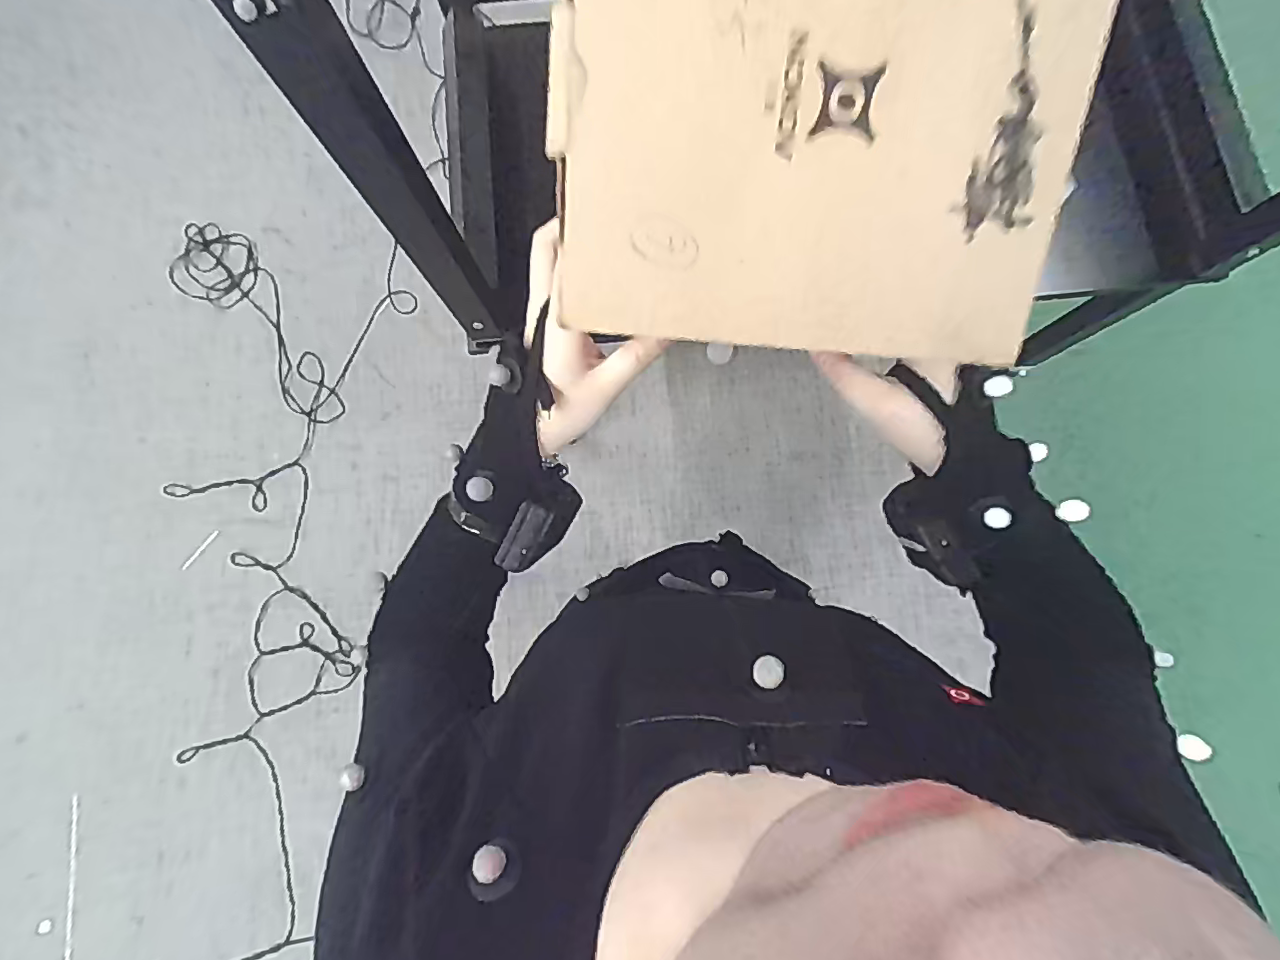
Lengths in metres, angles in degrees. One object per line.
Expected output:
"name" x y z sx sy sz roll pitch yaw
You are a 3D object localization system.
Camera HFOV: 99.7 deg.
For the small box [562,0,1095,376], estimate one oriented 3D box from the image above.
"small box" 0.067 -0.151 0.272 0.179 0.176 0.168 6 108 2
